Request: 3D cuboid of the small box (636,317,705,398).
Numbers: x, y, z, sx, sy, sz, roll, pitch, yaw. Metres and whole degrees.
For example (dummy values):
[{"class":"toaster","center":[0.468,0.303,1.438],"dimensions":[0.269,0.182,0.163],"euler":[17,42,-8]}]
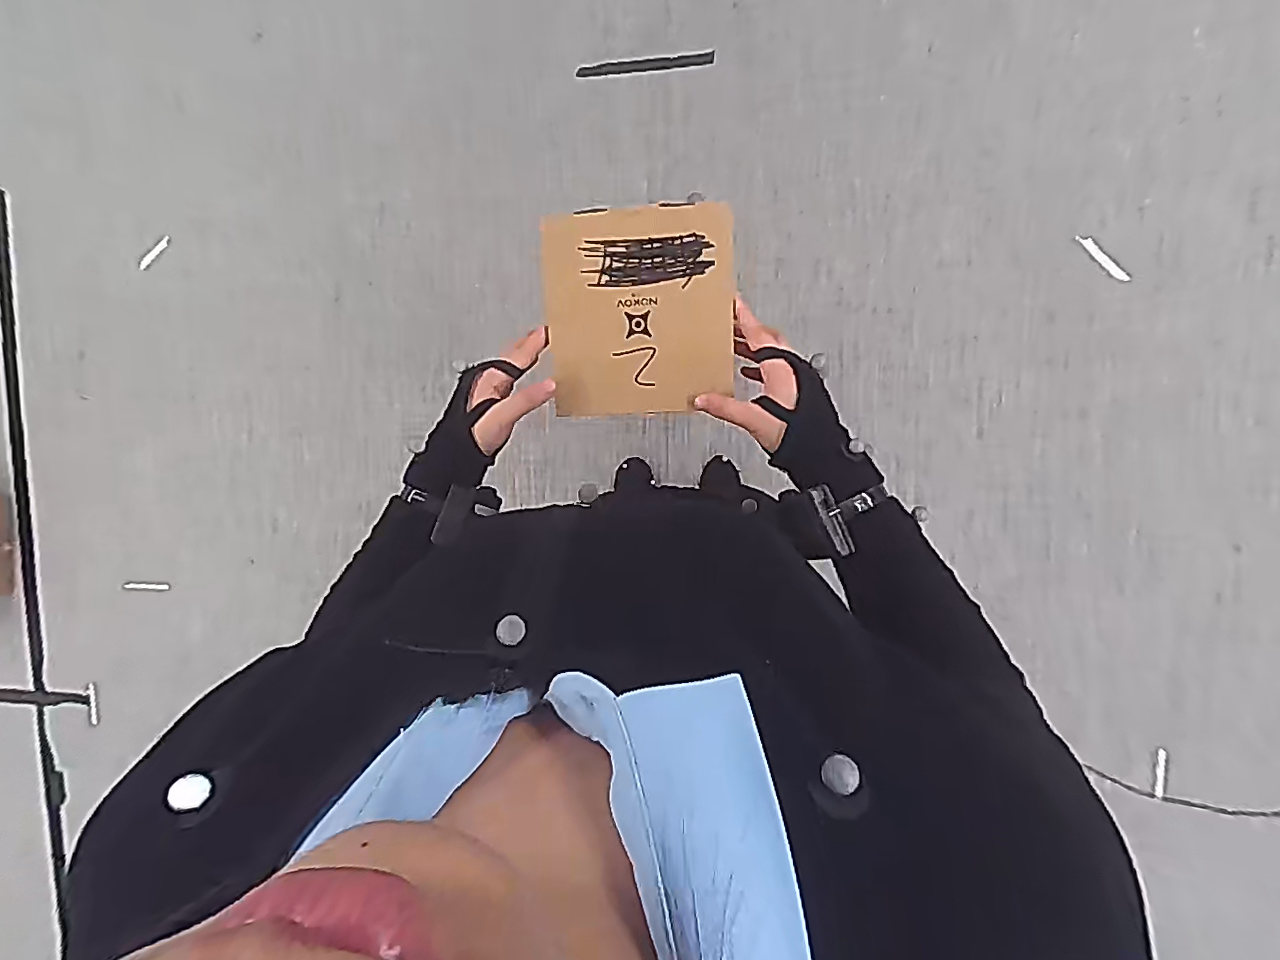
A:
[{"class":"small box","center":[0.080,-0.307,1.385],"dimensions":[0.168,0.176,0.179],"euler":[-2,94,6]}]
